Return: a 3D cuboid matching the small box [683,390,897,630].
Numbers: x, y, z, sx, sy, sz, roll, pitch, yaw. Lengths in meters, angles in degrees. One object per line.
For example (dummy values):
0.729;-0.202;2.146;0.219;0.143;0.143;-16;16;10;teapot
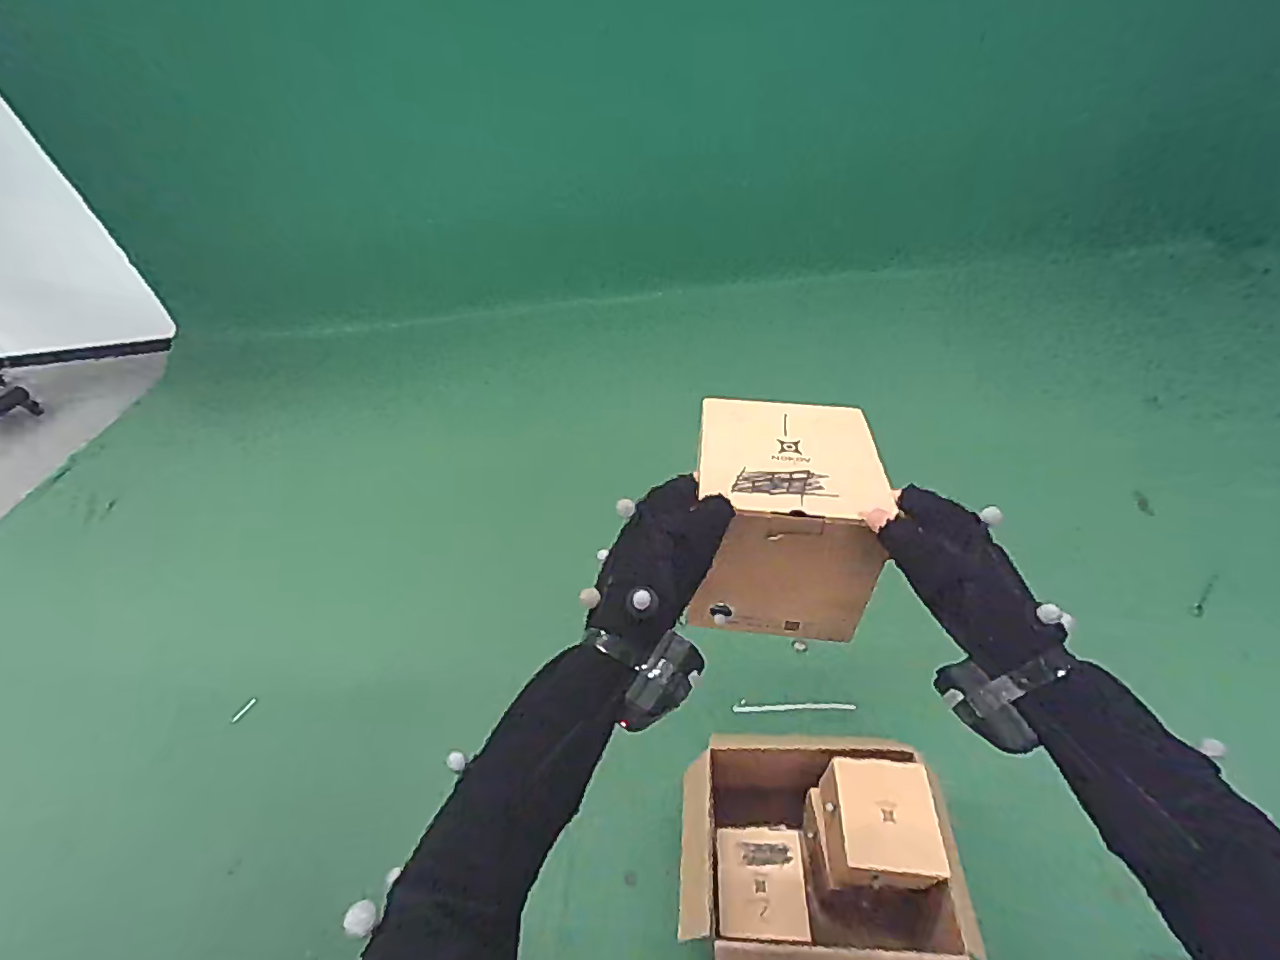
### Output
0.132;0.029;0.542;0.168;0.176;0.179;5;39;5;small box
